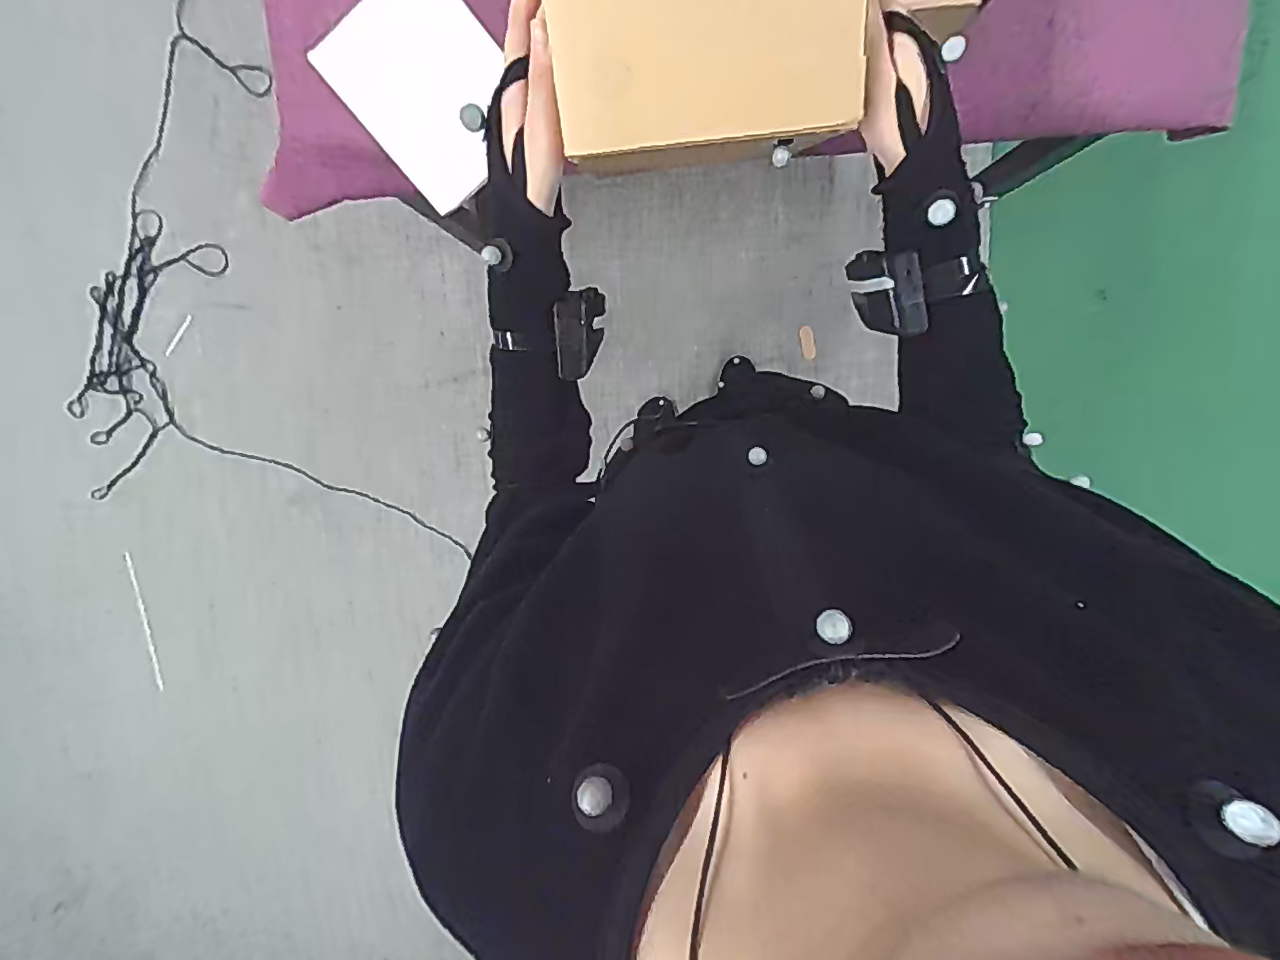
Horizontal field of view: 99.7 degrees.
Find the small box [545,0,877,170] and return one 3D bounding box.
[{"bbox_3d":[0.032,-0.305,0.344,0.179,0.176,0.168,-7,115,0],"label":"small box"}]
